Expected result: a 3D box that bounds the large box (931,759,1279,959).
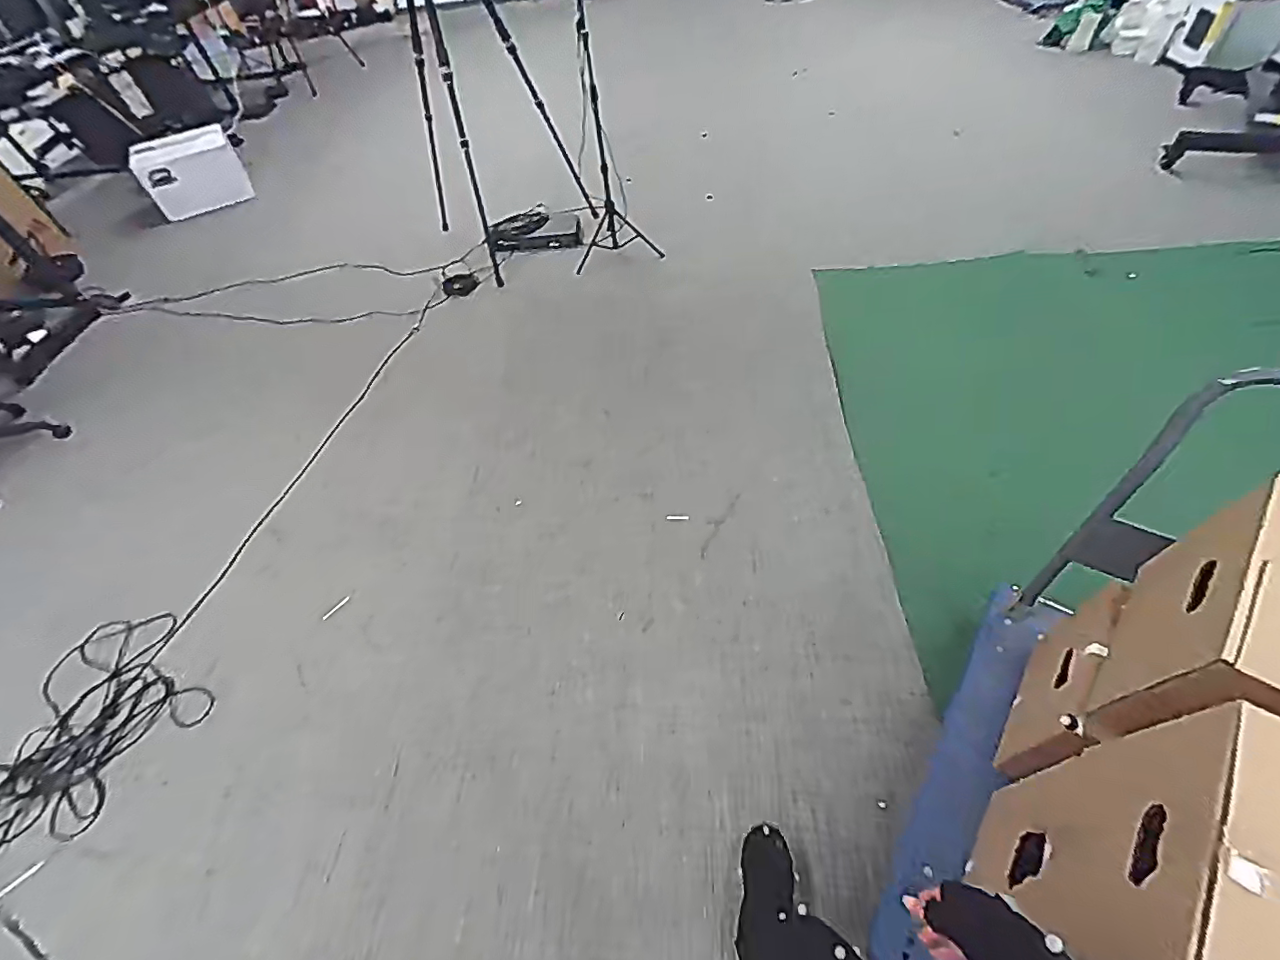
[{"bbox_3d":[0.720,0.699,0.785,0.408,0.320,0.320,27,57,27],"label":"large box"}]
